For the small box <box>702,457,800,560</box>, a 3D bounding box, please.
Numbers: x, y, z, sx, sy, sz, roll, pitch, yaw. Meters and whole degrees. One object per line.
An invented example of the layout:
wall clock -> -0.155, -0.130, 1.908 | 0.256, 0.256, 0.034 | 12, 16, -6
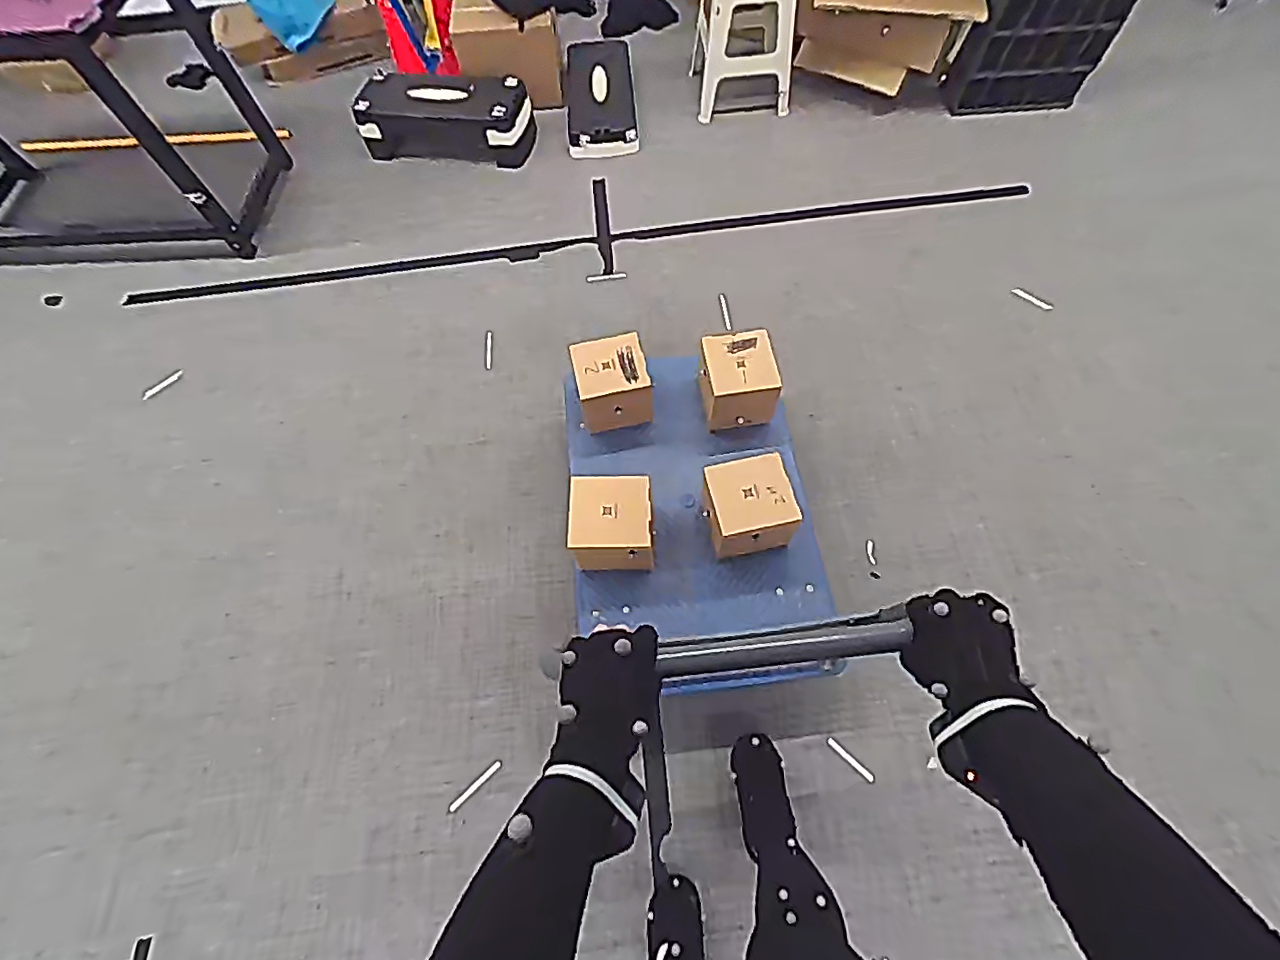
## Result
small box -> 0.241, 0.071, 1.232 | 0.179, 0.176, 0.168 | -12, 65, -2

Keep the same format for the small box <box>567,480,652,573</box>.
small box -> -0.063, 0.110, 1.229 | 0.179, 0.176, 0.168 | -1, 64, 1

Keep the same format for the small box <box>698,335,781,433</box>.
small box -> 0.244, -0.241, 1.378 | 0.168, 0.176, 0.179 | -8, 66, -1
